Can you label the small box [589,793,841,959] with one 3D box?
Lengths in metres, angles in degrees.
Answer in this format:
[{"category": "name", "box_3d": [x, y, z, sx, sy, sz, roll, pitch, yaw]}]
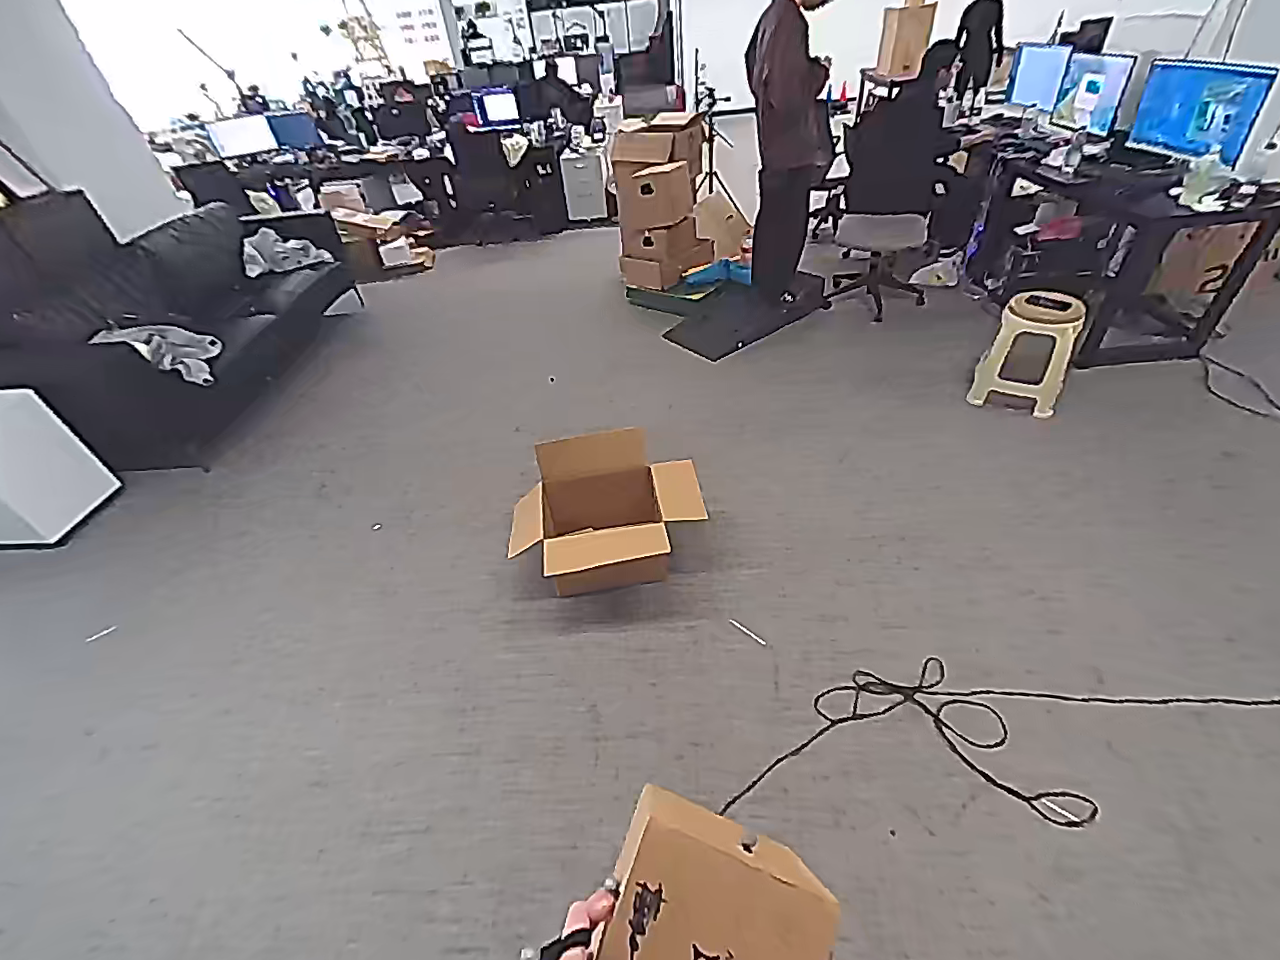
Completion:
[{"category": "small box", "box_3d": [0.059, 0.421, 0.510, 0.179, 0.176, 0.168, 20, 69, 7]}]
